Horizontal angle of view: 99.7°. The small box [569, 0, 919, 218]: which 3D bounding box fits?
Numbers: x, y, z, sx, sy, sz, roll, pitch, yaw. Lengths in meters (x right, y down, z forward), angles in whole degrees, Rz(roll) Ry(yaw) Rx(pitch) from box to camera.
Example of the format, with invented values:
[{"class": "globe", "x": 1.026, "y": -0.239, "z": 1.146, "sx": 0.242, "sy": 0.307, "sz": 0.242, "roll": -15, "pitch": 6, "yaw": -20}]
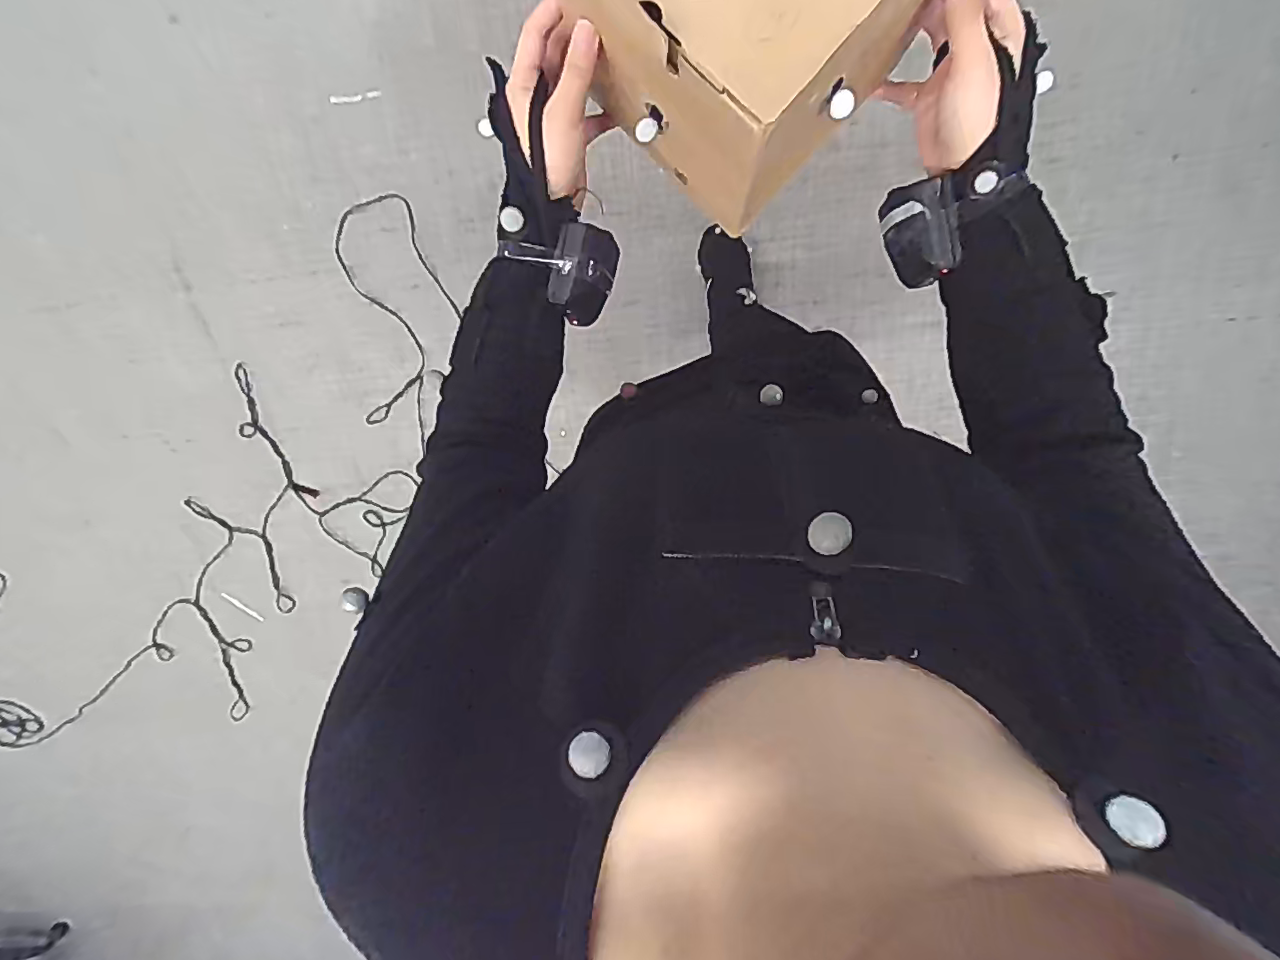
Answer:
[{"class": "small box", "x": 0.069, "y": -0.307, "z": 0.342, "sx": 0.168, "sy": 0.176, "sz": 0.179, "roll": 44, "pitch": 99, "yaw": -1}]
